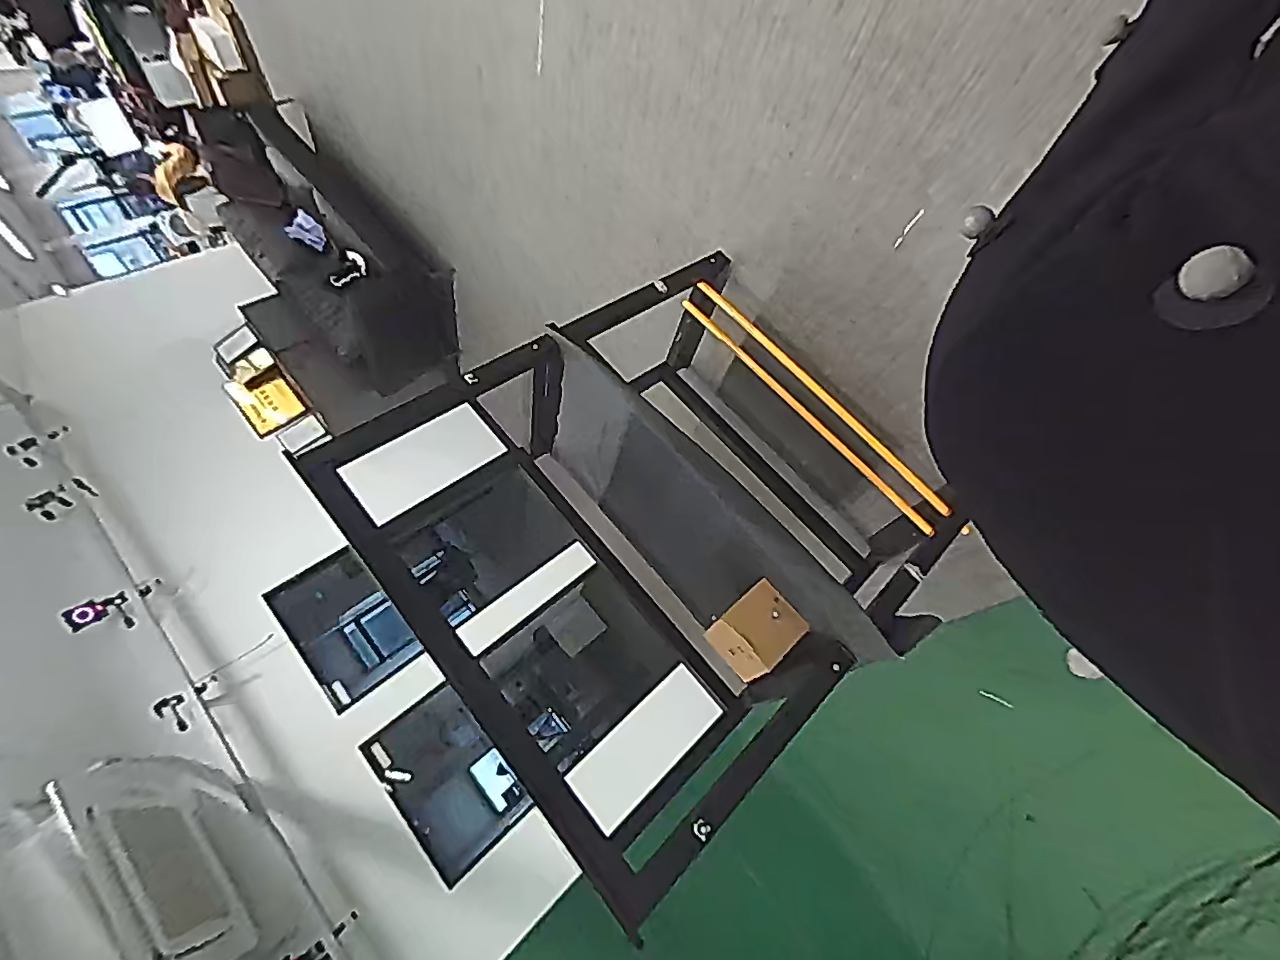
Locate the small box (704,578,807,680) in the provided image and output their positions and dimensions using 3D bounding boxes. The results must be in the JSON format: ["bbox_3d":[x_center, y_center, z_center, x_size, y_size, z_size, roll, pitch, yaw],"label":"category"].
[{"bbox_3d":[0.299,0.387,1.402,0.168,0.176,0.179,46,152,15],"label":"small box"}]
